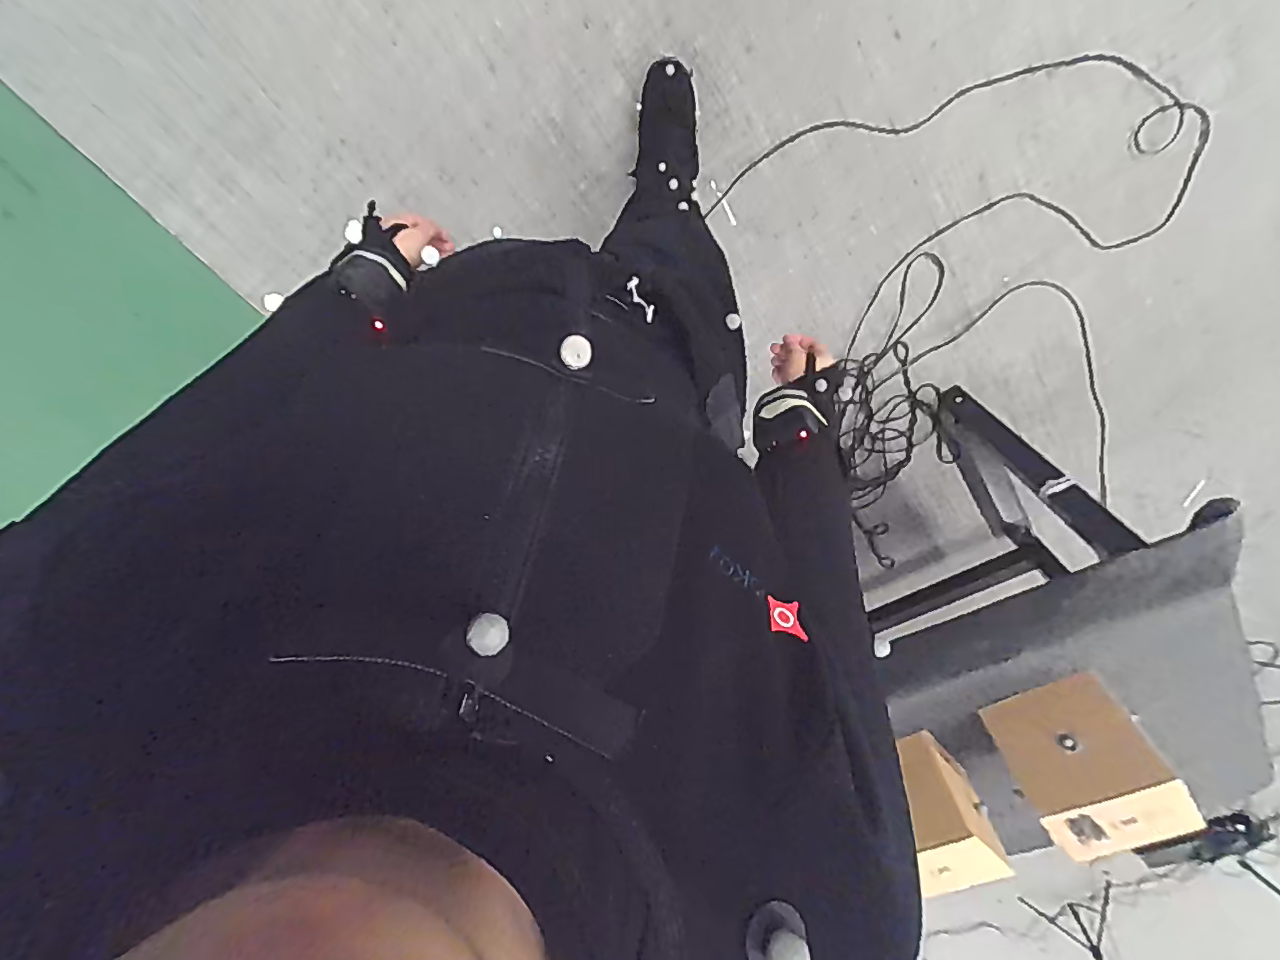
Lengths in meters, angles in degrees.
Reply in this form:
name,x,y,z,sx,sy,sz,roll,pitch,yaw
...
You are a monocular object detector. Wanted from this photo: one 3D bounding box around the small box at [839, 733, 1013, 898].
name,x,y,z,sx,sy,sz,roll,pitch,yaw
small box,0.465,0.554,0.902,0.179,0.176,0.168,-35,116,22
